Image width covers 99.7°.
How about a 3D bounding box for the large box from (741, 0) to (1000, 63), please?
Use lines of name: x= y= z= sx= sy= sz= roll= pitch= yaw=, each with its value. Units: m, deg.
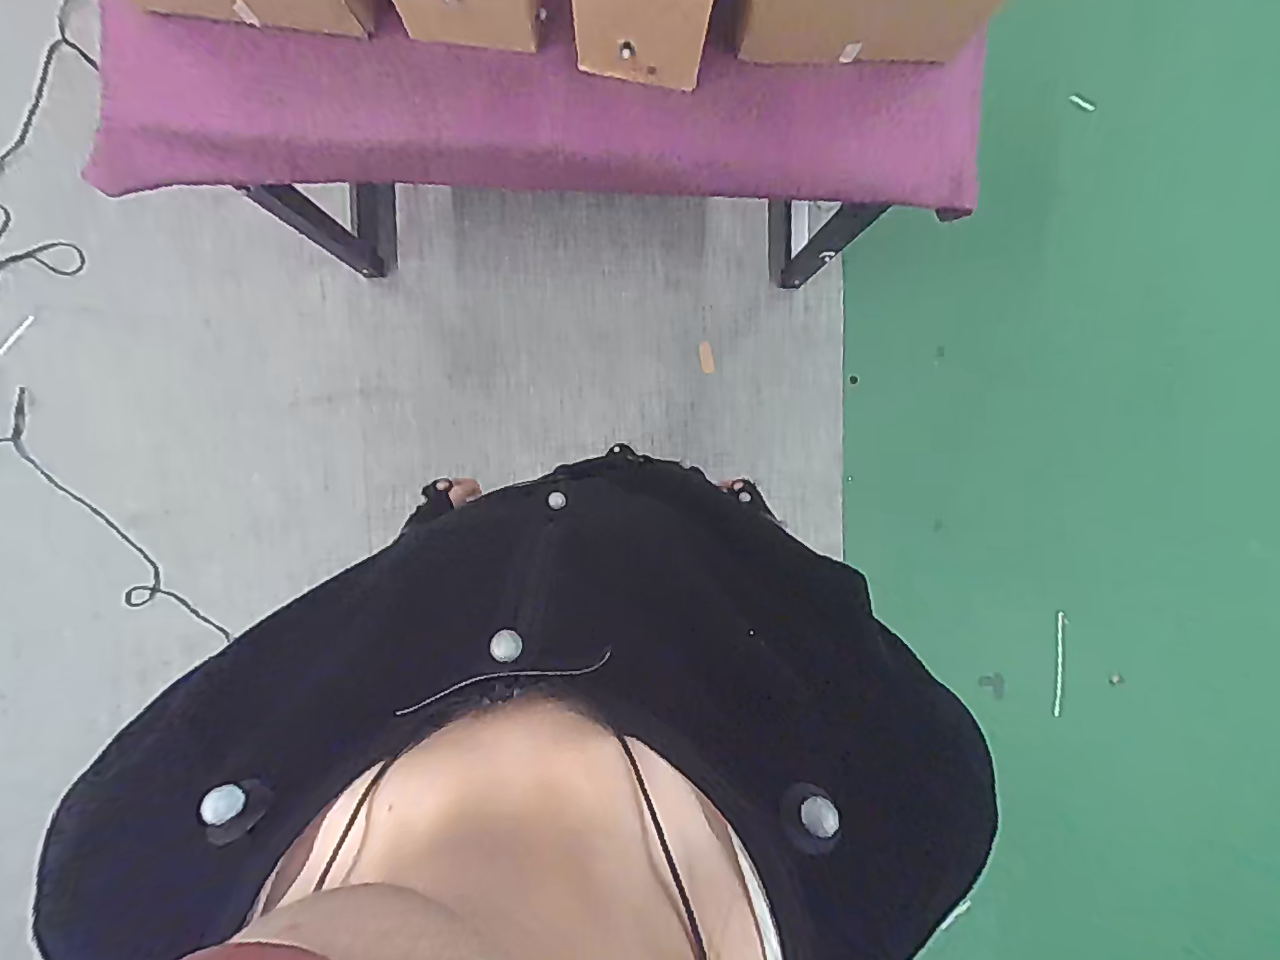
large box: x=0.293 y=-0.782 z=0.608 sx=0.320 sy=0.320 sz=0.408 roll=-1 pitch=94 yaw=0
